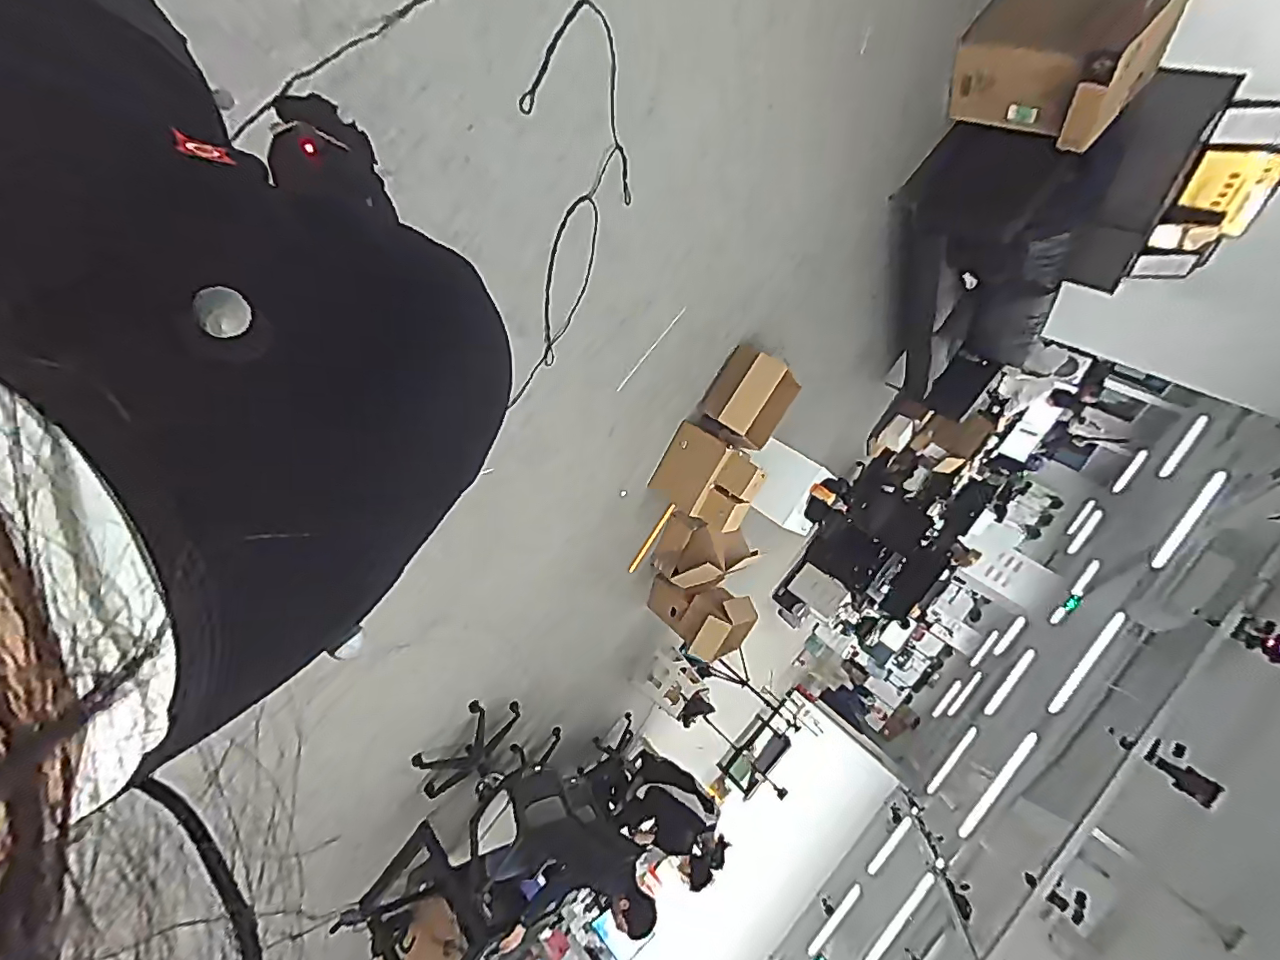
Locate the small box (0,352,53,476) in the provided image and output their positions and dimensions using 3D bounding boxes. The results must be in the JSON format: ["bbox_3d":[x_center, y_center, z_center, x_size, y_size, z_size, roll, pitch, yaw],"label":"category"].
[{"bbox_3d":[-1.195,-0.140,0.945,0.179,0.176,0.168,-54,150,3],"label":"small box"}]
